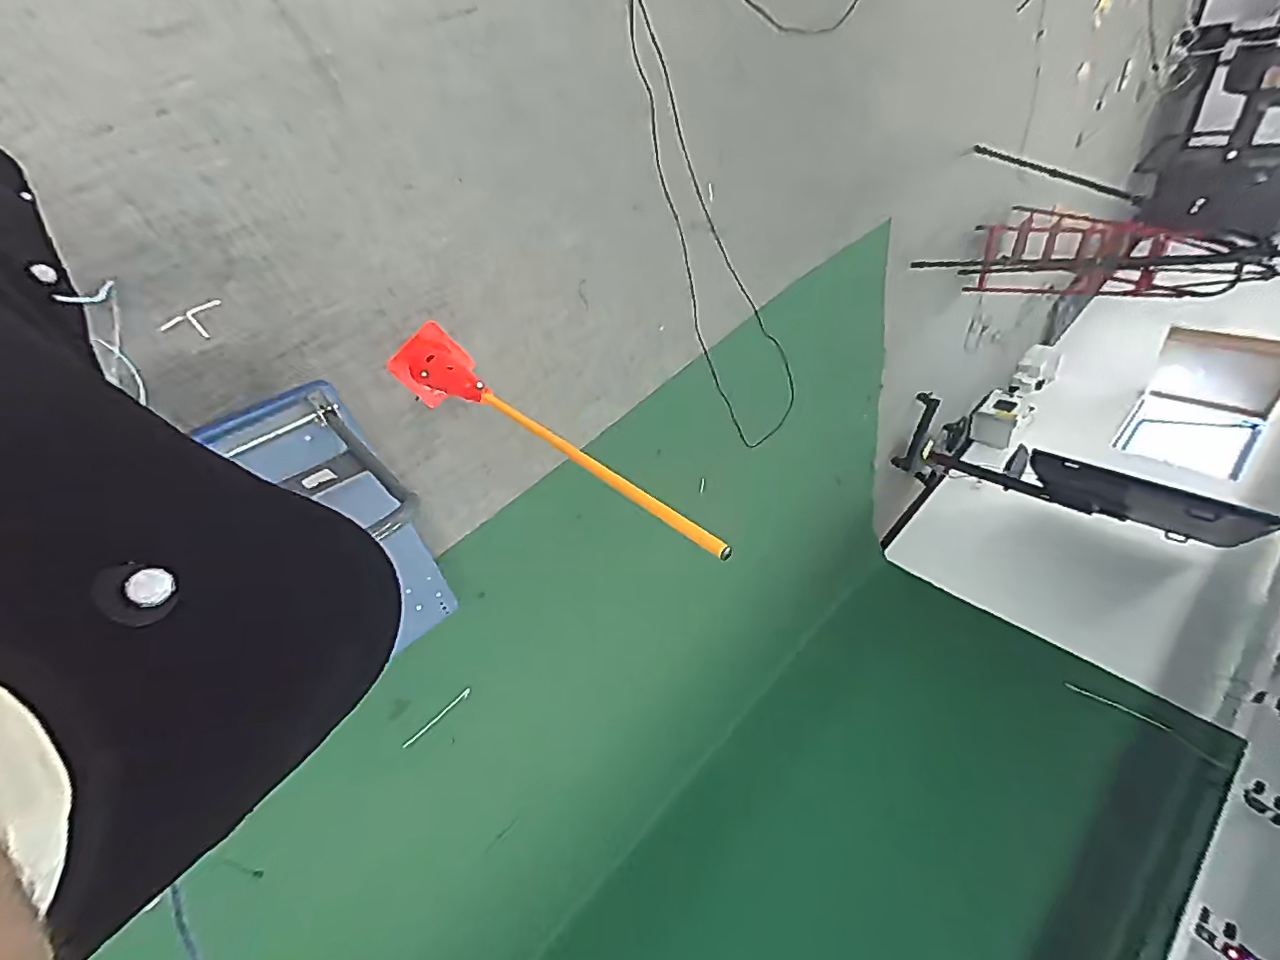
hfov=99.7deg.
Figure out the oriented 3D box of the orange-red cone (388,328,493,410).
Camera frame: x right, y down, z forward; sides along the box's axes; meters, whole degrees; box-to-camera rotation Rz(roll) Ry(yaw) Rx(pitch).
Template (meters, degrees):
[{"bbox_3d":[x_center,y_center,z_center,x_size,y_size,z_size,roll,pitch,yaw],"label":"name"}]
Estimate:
[{"bbox_3d":[-0.519,-0.272,1.527,0.199,0.360,0.198,-51,139,-12],"label":"orange-red cone"}]
